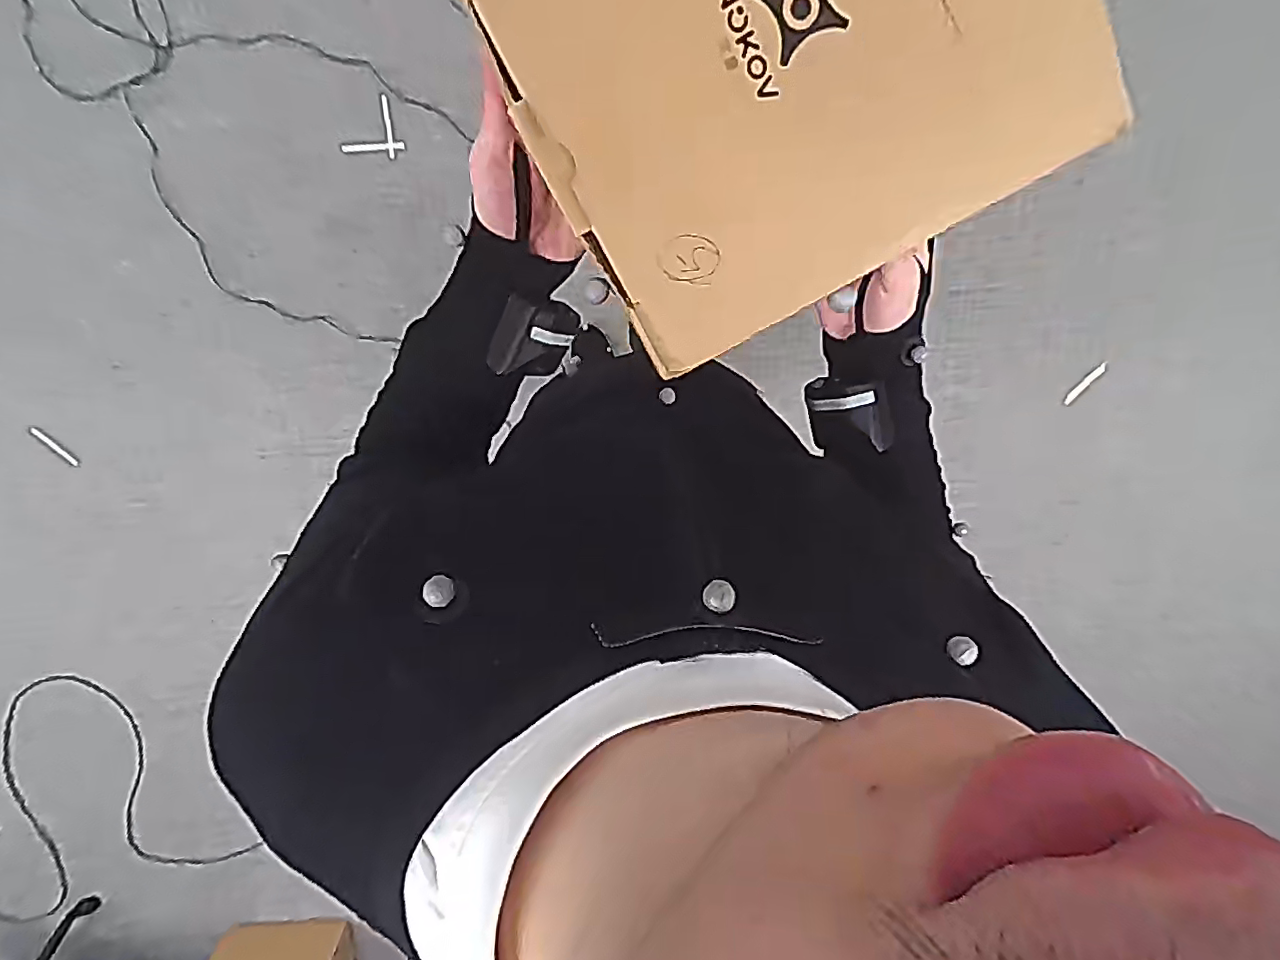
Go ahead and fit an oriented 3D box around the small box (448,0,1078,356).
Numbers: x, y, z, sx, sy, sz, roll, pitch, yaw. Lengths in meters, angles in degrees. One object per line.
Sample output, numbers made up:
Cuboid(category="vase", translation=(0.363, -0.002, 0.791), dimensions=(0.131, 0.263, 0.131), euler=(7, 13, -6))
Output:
Cuboid(category="small box", translation=(0.040, -0.176, 0.258), dimensions=(0.179, 0.176, 0.168), euler=(-29, 106, 7))
